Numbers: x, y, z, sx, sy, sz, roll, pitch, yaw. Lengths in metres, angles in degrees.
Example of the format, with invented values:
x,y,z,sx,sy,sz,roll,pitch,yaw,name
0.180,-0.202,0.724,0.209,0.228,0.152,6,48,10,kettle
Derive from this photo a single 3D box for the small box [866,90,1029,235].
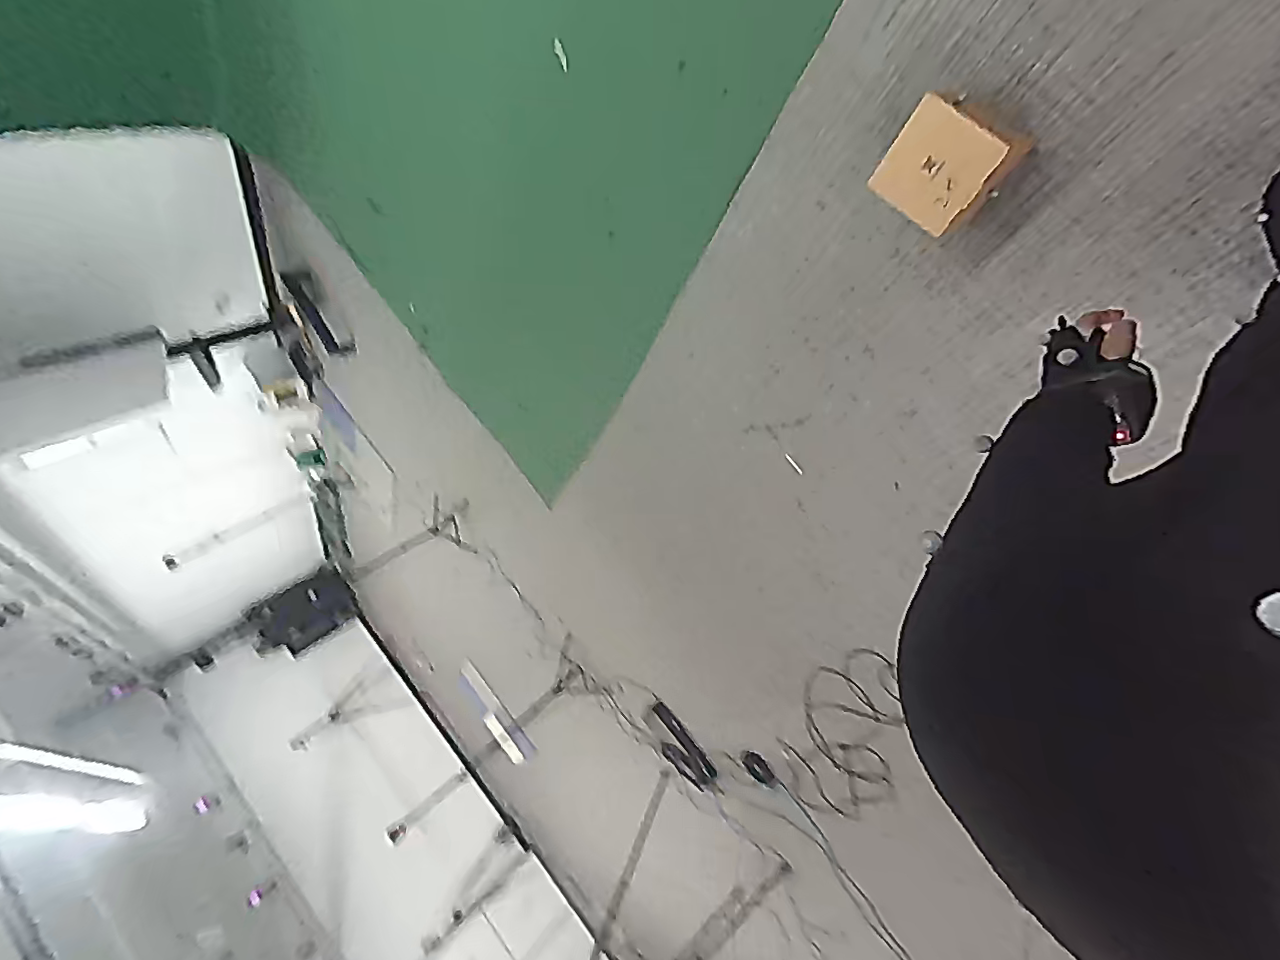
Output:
x,y,z,sx,sy,sz,roll,pitch,yaw,name
0.569,-0.588,1.003,0.179,0.176,0.168,46,142,14,small box
